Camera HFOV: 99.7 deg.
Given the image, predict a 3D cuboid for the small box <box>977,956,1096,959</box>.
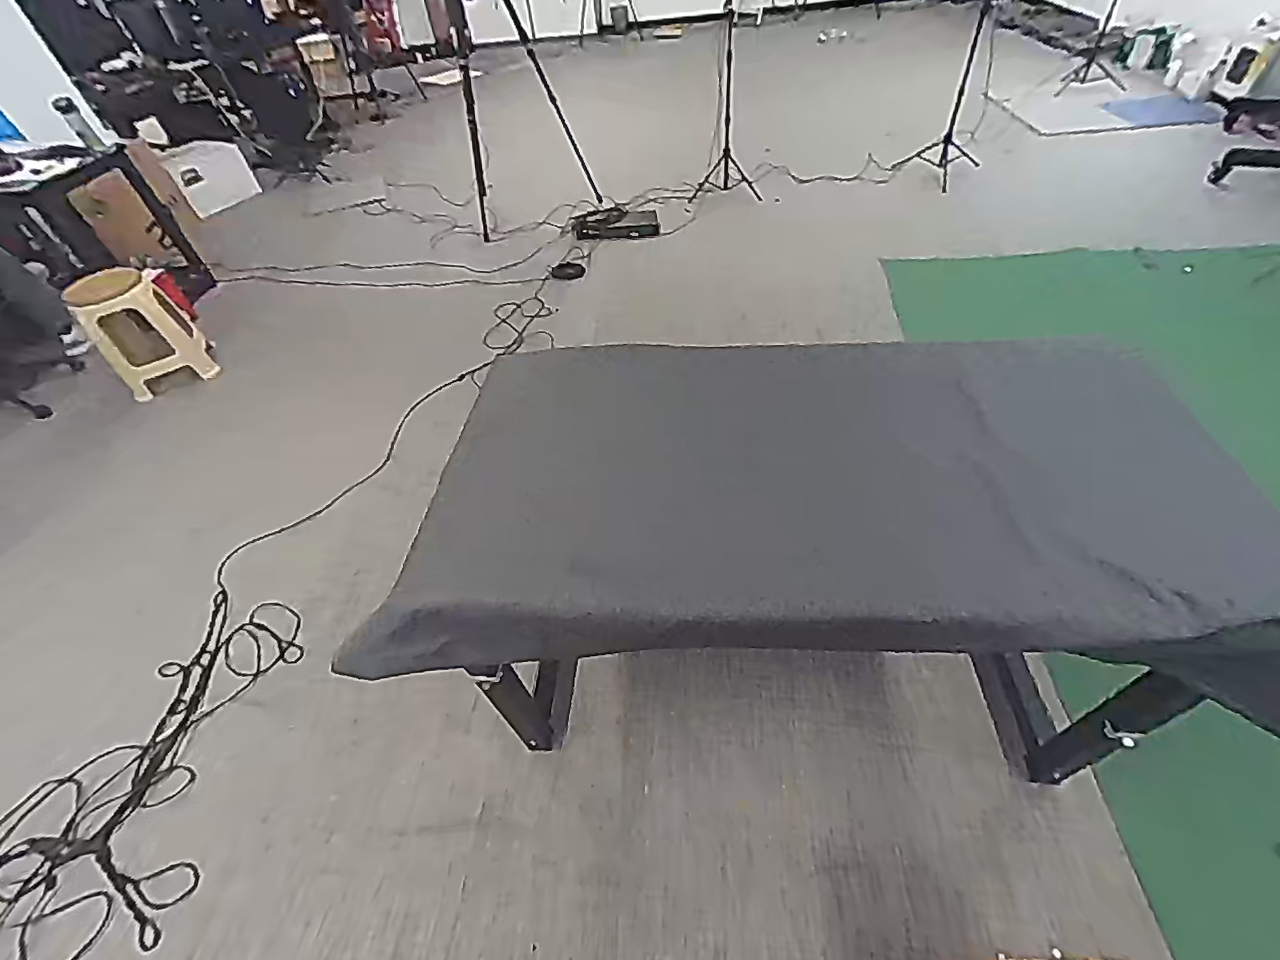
[{"bbox_3d":[0.590,0.774,0.751,0.179,0.176,0.168,-3,47,5],"label":"small box"}]
